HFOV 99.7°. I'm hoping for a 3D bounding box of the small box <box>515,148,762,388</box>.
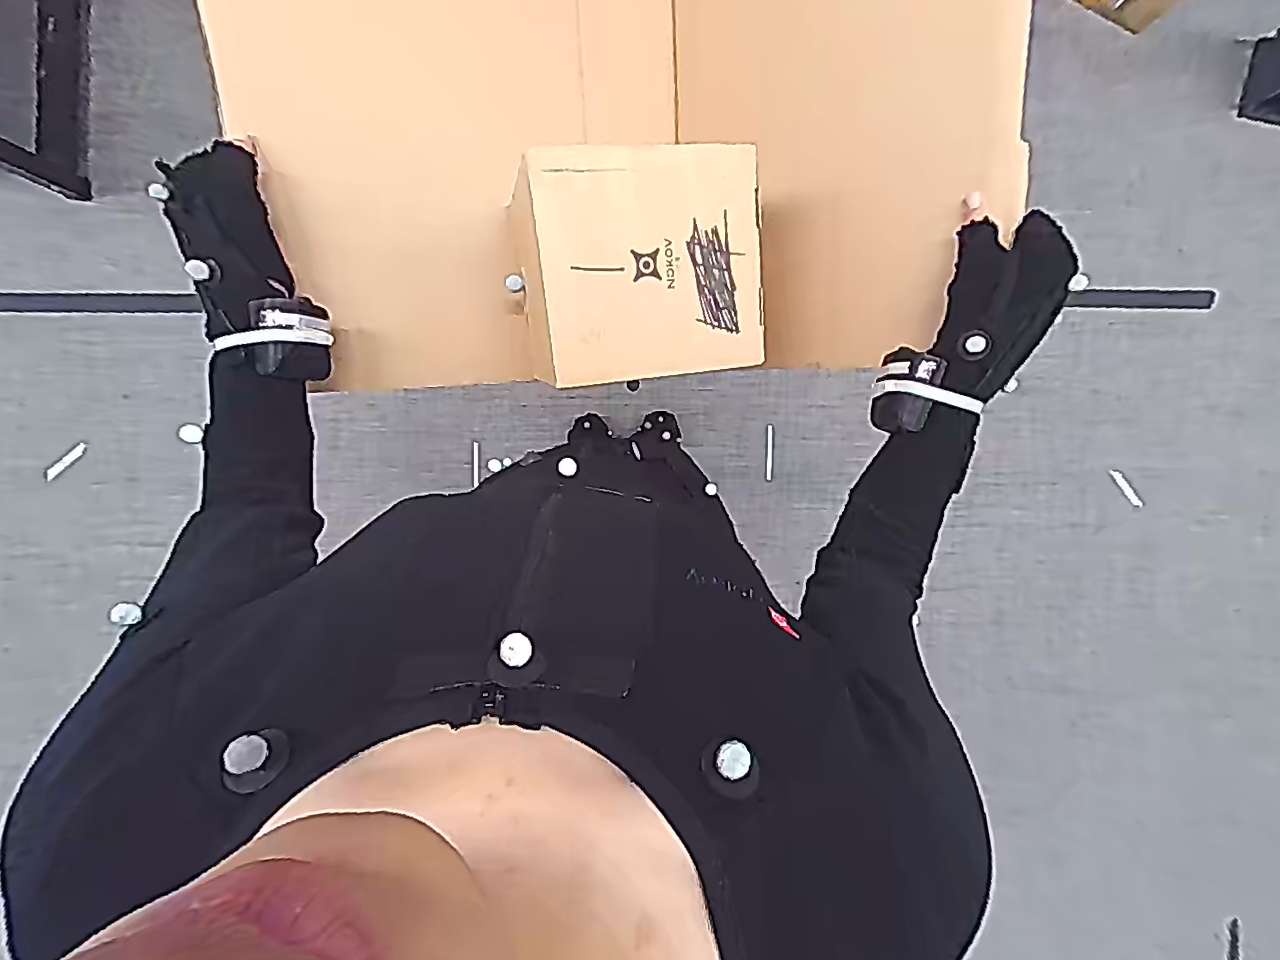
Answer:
[{"bbox_3d":[-0.009,-0.179,0.486,0.179,0.176,0.168,-9,105,-14],"label":"small box"}]
